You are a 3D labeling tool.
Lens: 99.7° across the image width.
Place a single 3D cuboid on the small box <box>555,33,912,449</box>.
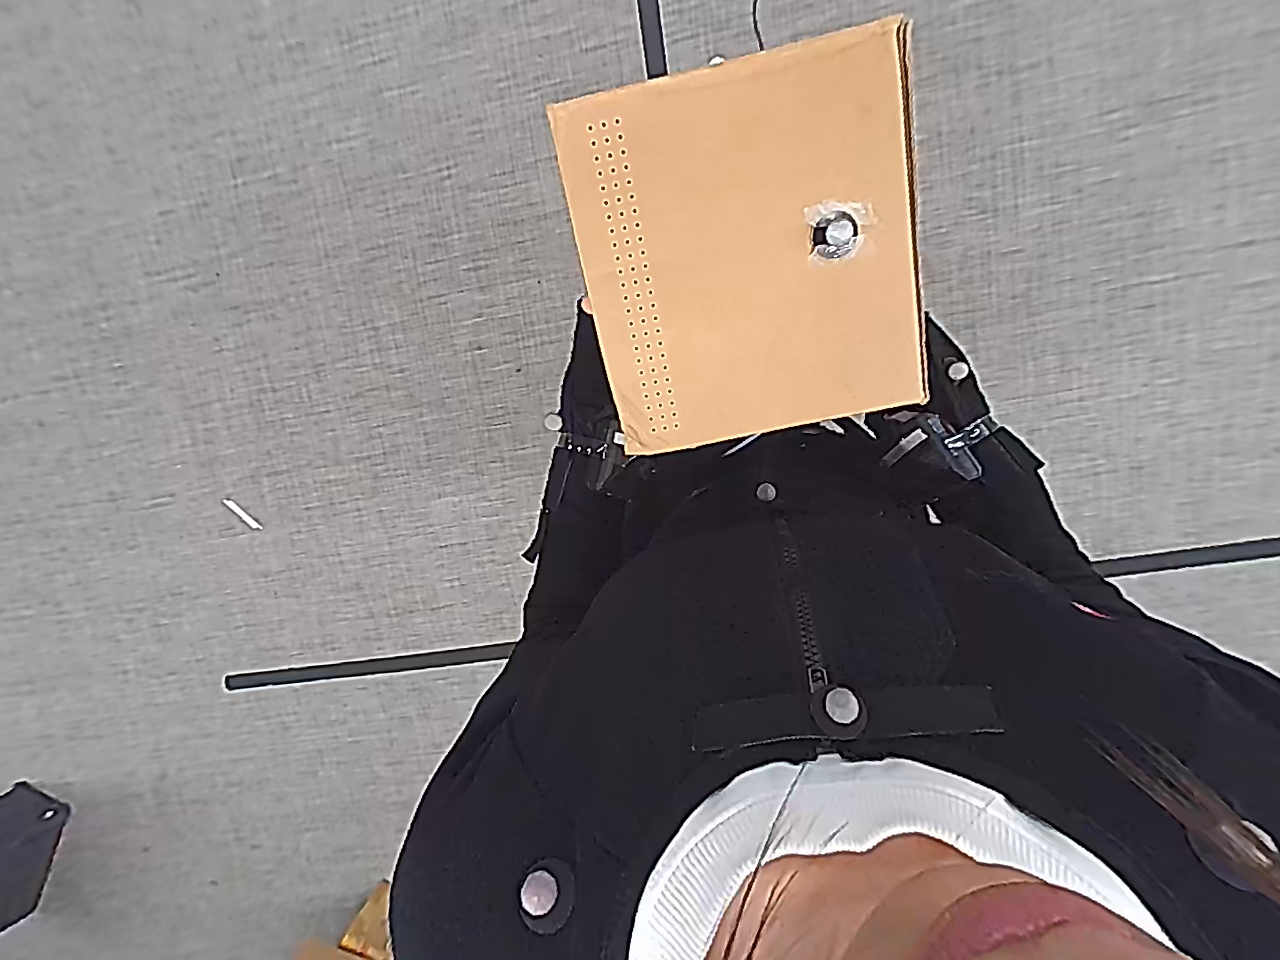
[{"bbox_3d":[0.052,-0.135,0.357,0.176,0.168,0.179,-11,107,6],"label":"small box"}]
